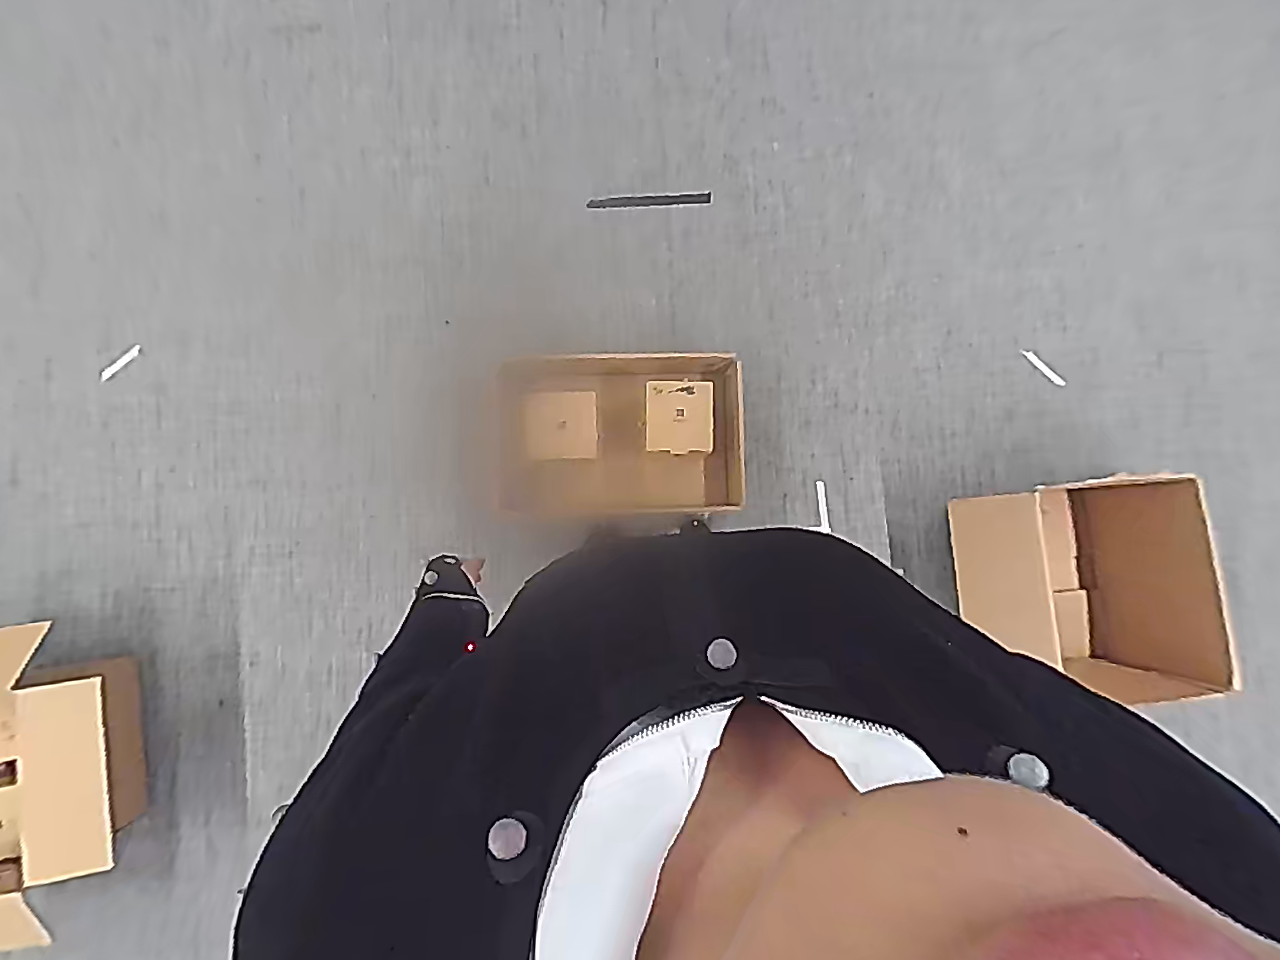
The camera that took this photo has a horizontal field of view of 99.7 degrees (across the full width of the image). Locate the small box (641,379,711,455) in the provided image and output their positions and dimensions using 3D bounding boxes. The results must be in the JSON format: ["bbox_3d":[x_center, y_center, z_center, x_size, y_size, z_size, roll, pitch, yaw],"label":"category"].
[{"bbox_3d":[0.090,-0.156,1.401,0.168,0.176,0.179,1,88,-2],"label":"small box"}]

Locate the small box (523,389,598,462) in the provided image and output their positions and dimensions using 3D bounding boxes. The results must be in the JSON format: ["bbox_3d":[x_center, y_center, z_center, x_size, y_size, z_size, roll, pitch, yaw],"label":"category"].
[{"bbox_3d":[-0.199,-0.136,1.387,0.179,0.176,0.168,-2,88,-4],"label":"small box"}]
